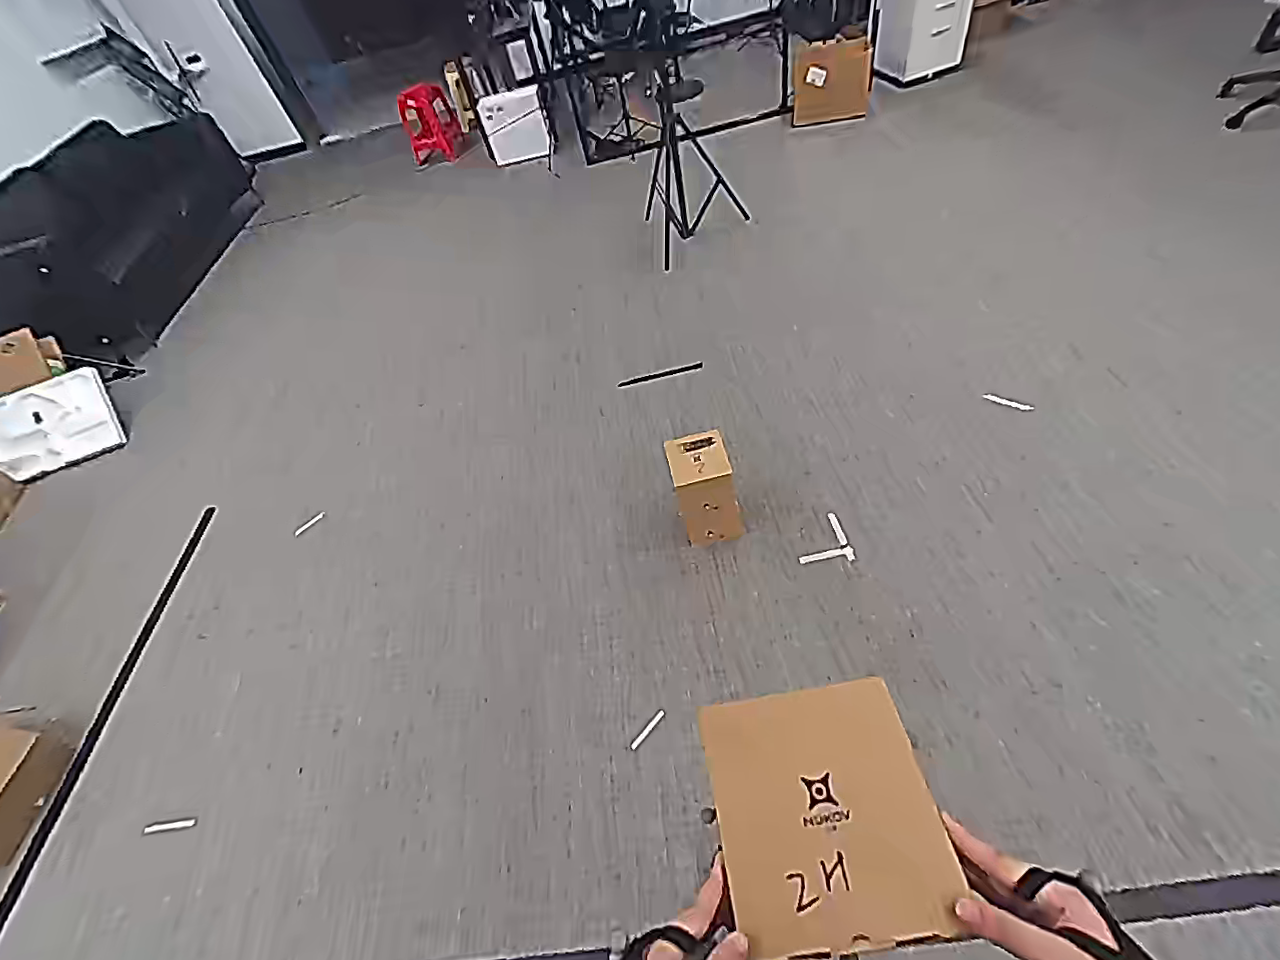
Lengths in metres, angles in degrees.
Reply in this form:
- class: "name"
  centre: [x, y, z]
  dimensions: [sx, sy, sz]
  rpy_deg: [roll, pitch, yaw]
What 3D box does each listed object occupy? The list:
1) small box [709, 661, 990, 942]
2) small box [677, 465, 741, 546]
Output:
- class: "small box"
  centre: [0.161, 0.288, 0.482]
  dimensions: [0.168, 0.176, 0.179]
  rpy_deg: [-12, 49, 4]
- class: "small box"
  centre: [0.220, 0.084, 1.718]
  dimensions: [0.168, 0.176, 0.179]
  rpy_deg: [-13, 50, 4]
